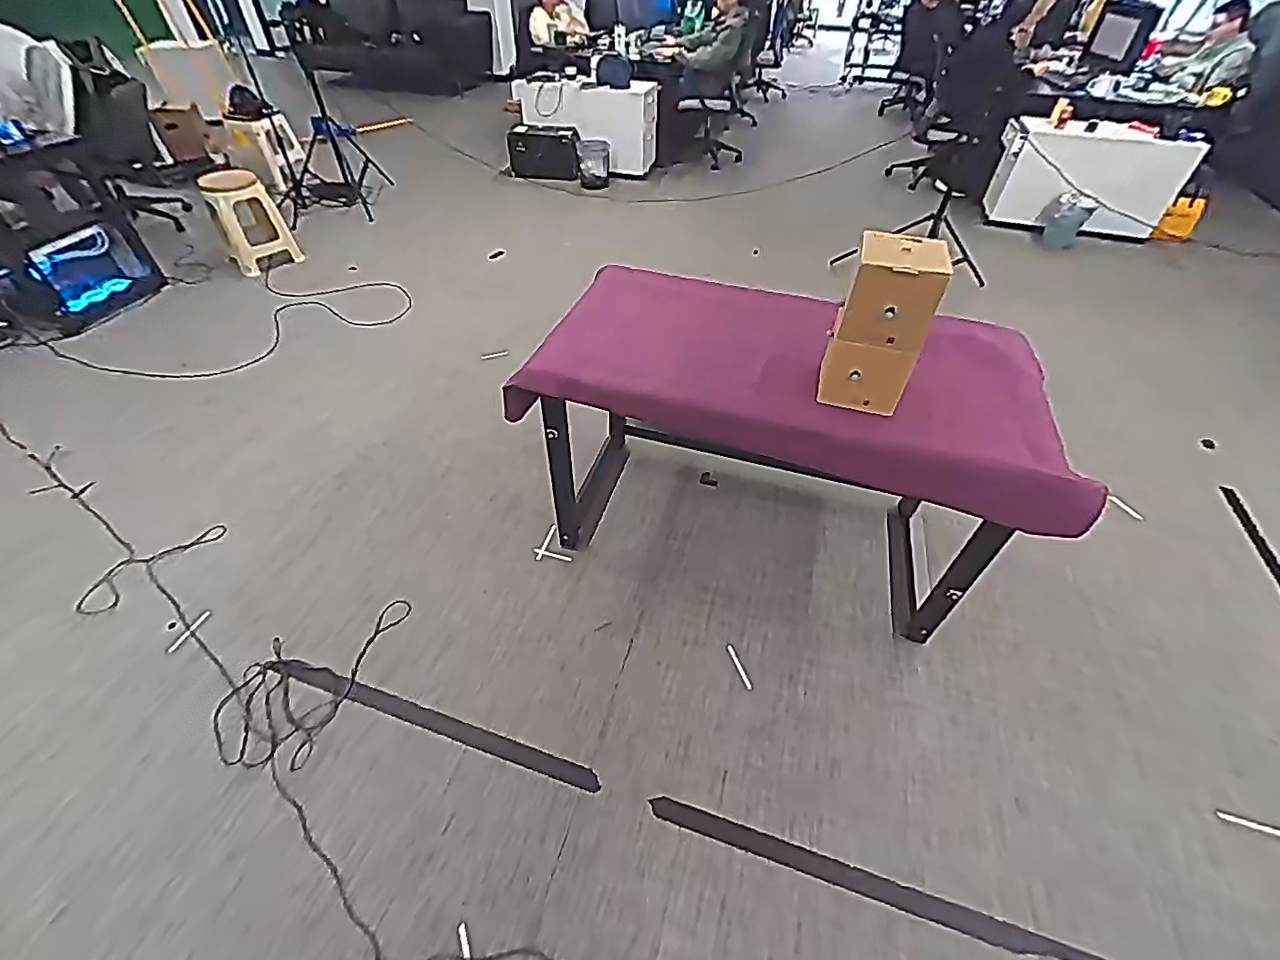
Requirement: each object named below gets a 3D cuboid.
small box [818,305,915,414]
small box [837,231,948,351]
[{"bbox_3d":[0.513,-0.273,1.238,0.168,0.176,0.179,13,46,11],"label":"small box"},{"bbox_3d":[0.518,-0.391,1.123,0.168,0.176,0.179,14,47,12],"label":"small box"}]
